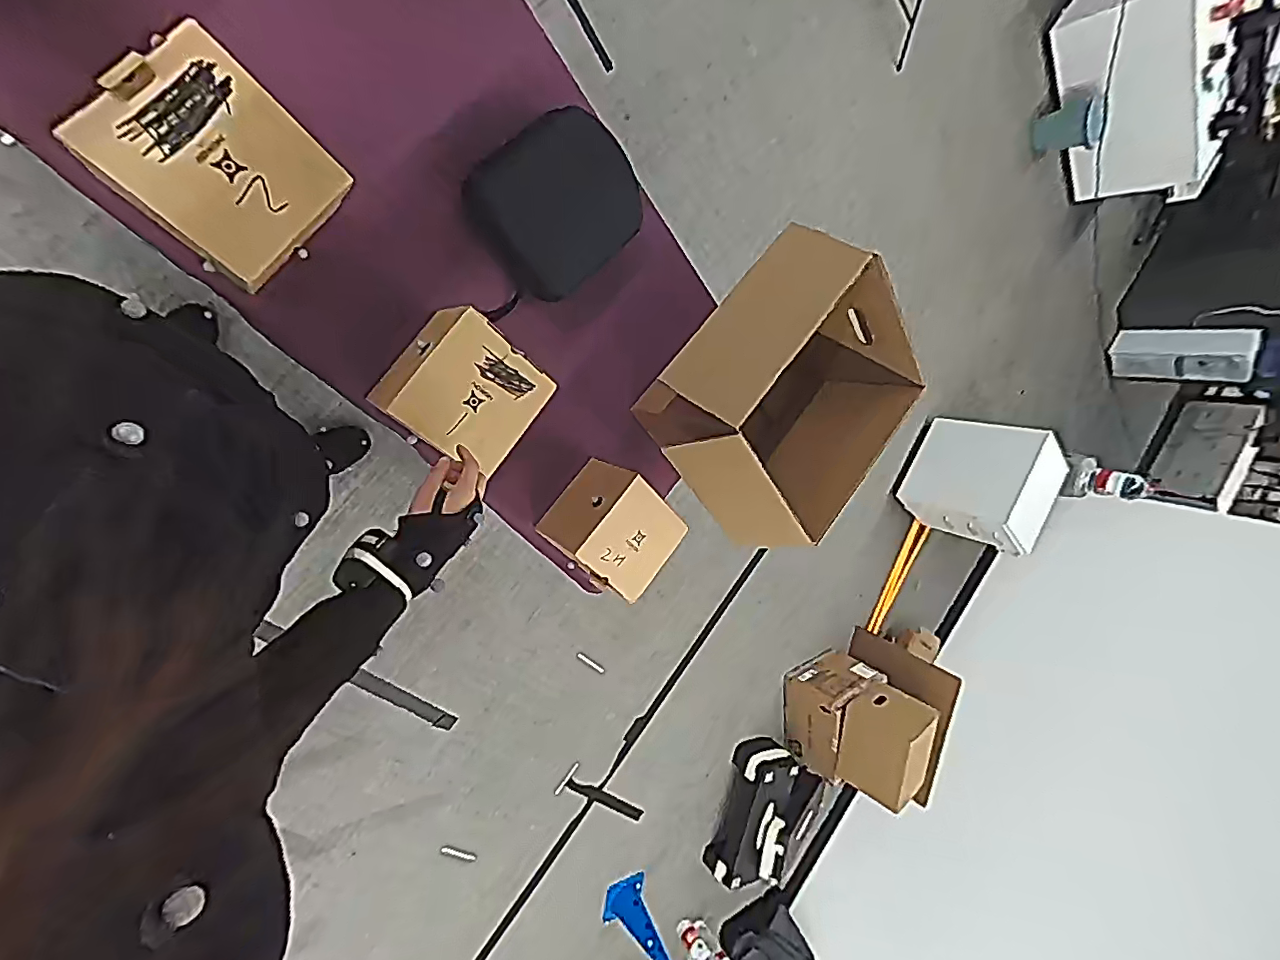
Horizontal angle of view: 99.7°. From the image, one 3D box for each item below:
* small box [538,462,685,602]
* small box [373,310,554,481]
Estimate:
[{"bbox_3d":[-0.058,0.086,0.998,0.179,0.176,0.168,-52,124,-13],"label":"small box"},{"bbox_3d":[-0.266,-0.129,0.798,0.168,0.176,0.179,42,78,-34],"label":"small box"}]
